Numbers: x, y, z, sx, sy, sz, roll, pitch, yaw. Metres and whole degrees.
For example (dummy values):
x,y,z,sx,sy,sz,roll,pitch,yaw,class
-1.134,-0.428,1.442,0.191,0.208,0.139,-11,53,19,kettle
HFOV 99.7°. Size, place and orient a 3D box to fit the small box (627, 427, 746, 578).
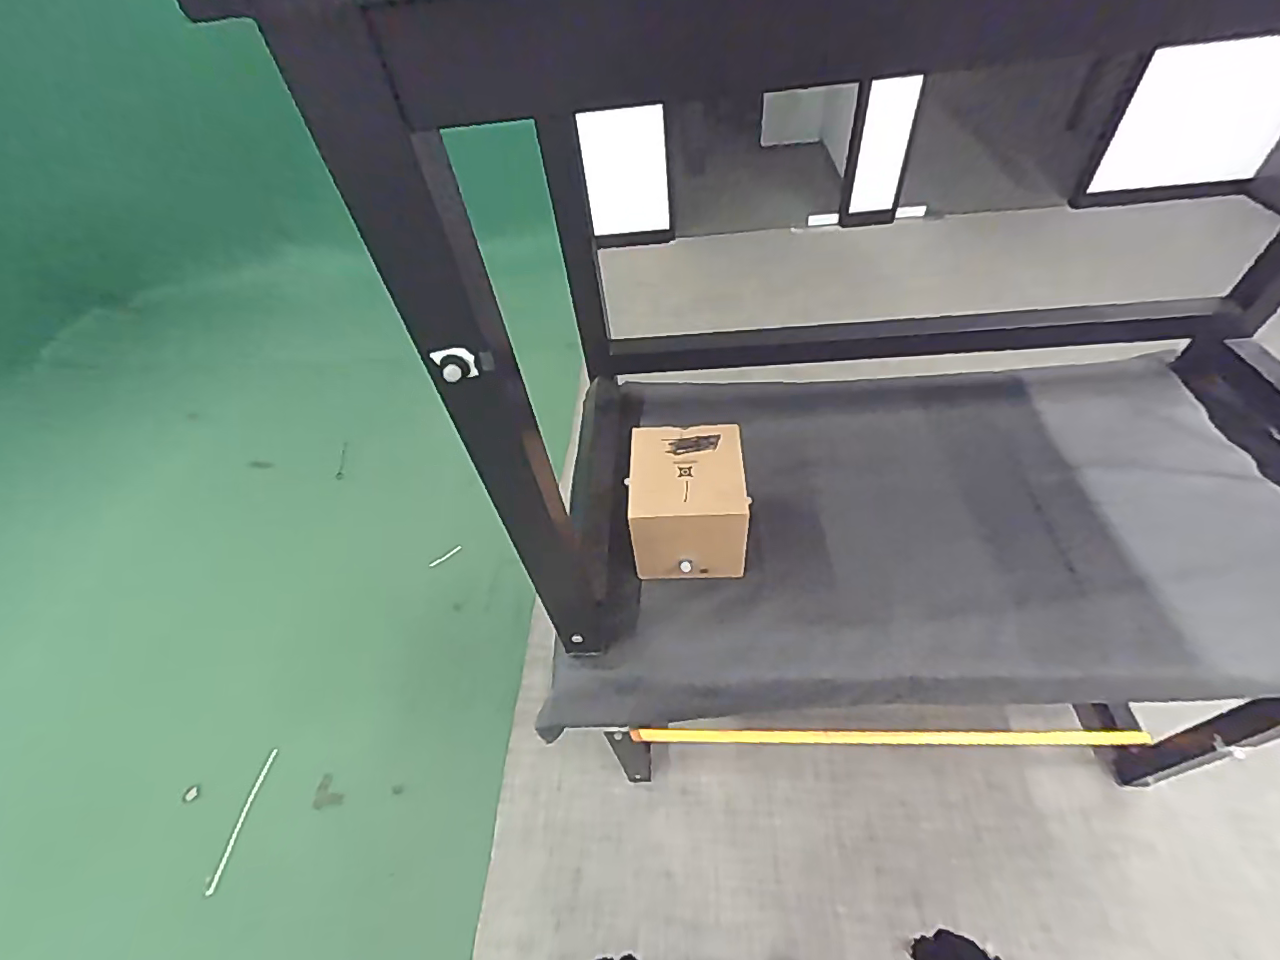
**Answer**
x,y,z,sx,sy,sz,roll,pitch,yaw,class
0.072,0.036,0.851,0.168,0.176,0.179,-2,50,5,small box
